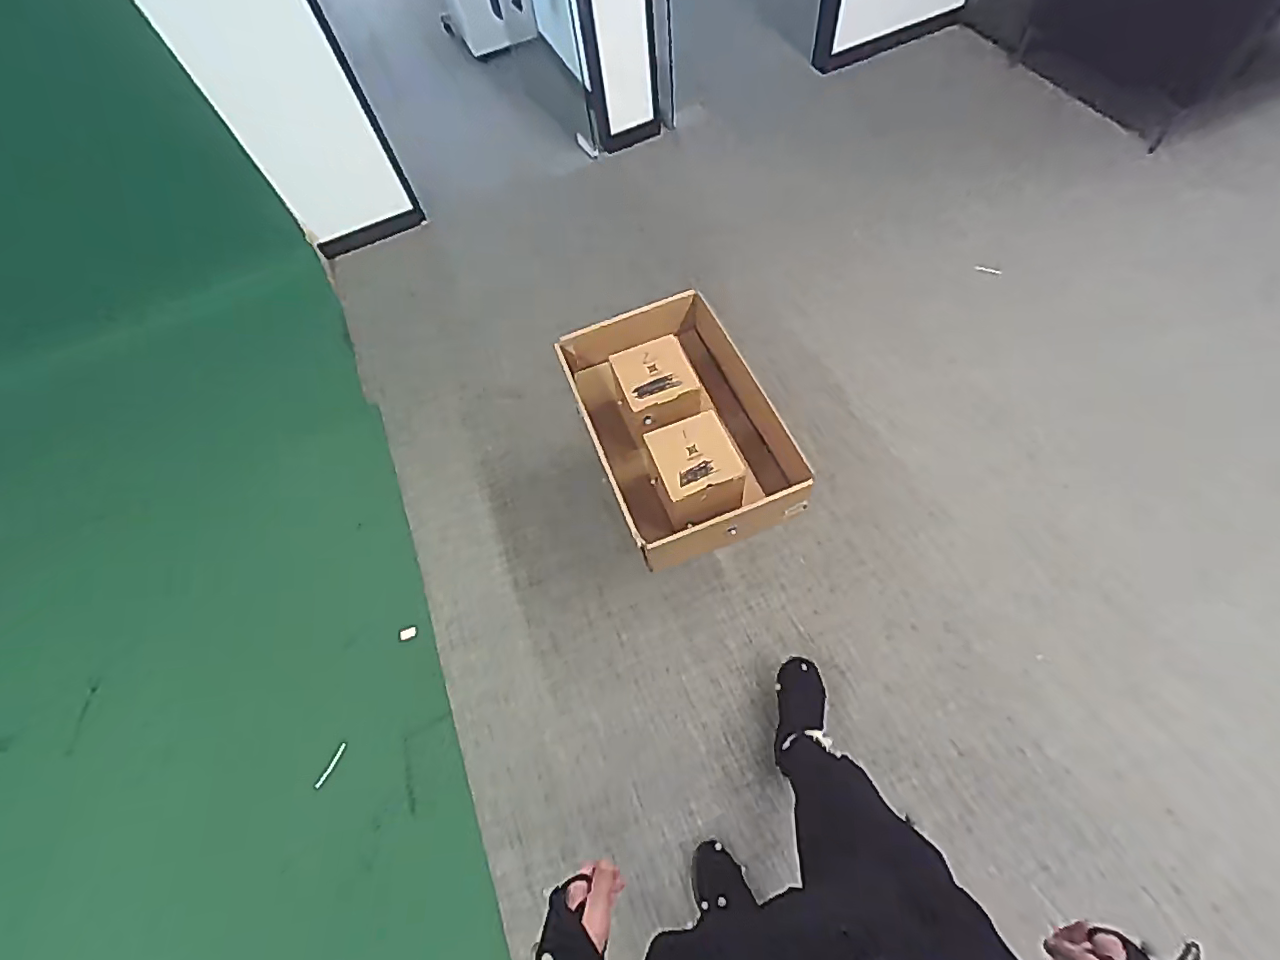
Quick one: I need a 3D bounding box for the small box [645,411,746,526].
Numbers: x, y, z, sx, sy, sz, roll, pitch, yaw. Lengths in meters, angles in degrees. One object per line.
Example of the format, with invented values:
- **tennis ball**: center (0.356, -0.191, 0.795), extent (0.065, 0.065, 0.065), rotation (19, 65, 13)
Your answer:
- **small box**: center (0.122, -0.016, 1.196), extent (0.168, 0.176, 0.179), rotation (-20, 61, -5)
